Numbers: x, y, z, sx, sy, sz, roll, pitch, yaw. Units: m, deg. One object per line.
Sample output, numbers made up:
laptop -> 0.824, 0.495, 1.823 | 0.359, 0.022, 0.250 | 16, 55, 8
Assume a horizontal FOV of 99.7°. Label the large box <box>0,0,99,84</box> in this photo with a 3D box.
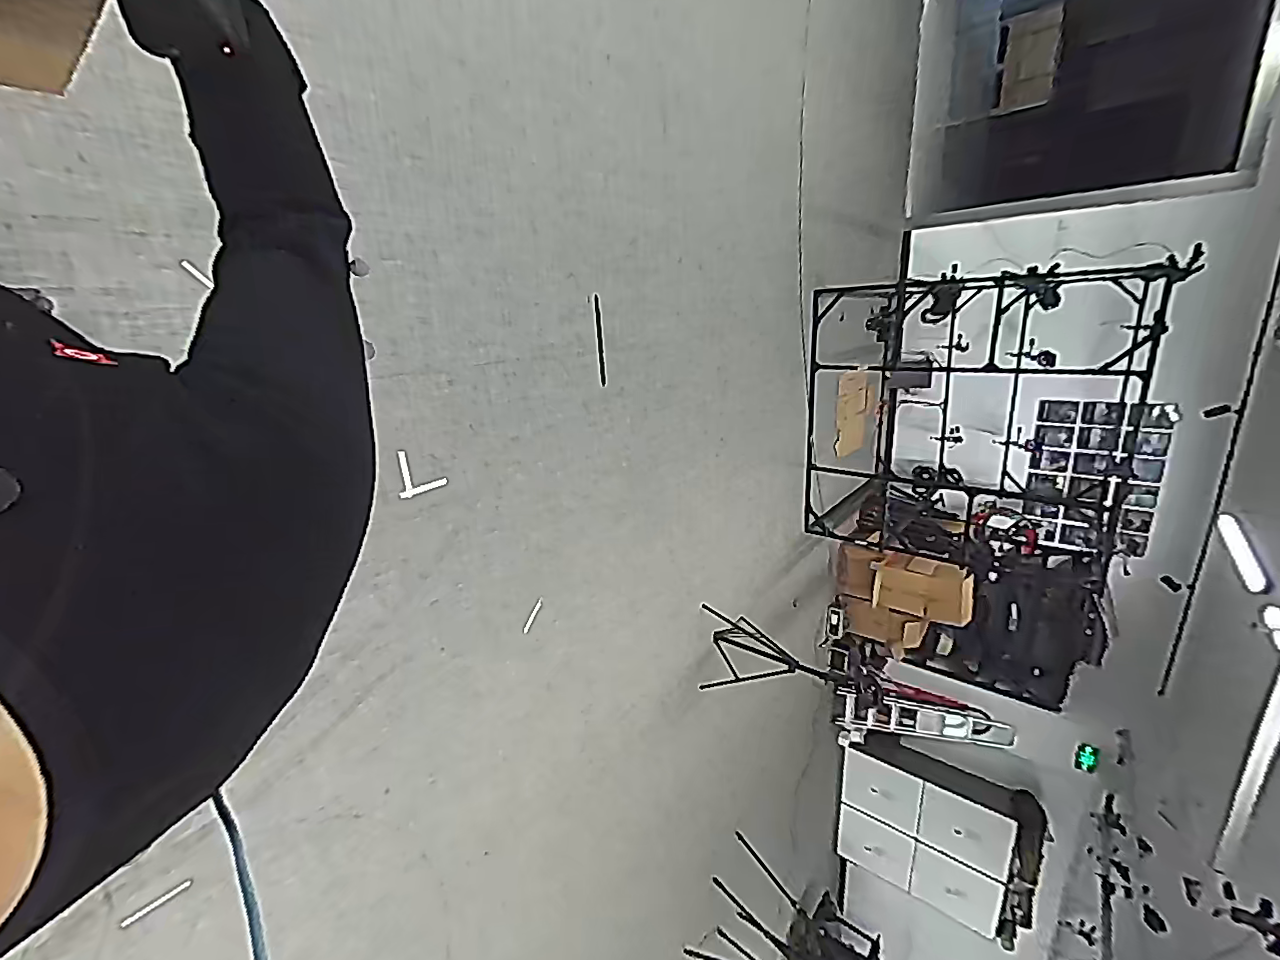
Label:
large box -> -0.556, -0.432, 0.225 | 0.408, 0.320, 0.320 | -23, 118, -47
